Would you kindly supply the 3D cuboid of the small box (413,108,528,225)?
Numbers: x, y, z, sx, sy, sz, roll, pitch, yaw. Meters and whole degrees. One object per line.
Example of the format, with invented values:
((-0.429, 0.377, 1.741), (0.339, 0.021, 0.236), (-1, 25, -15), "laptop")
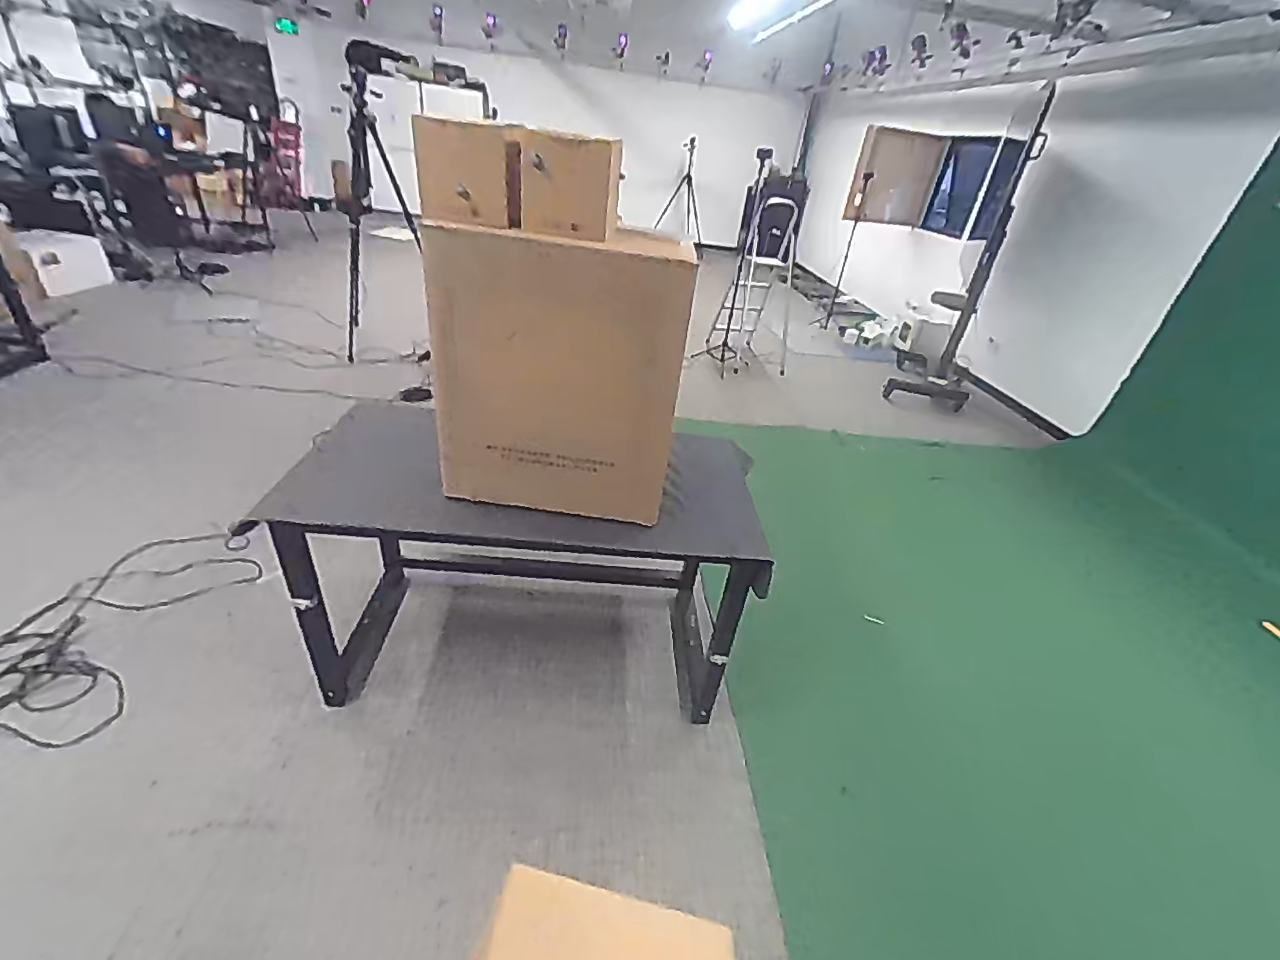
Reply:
((-0.318, -0.604, 1.044), (0.168, 0.176, 0.179), (6, 34, -1), "small box")

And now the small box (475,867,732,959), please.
((-0.046, 0.402, 0.342), (0.168, 0.176, 0.179), (20, 26, -5), "small box")
